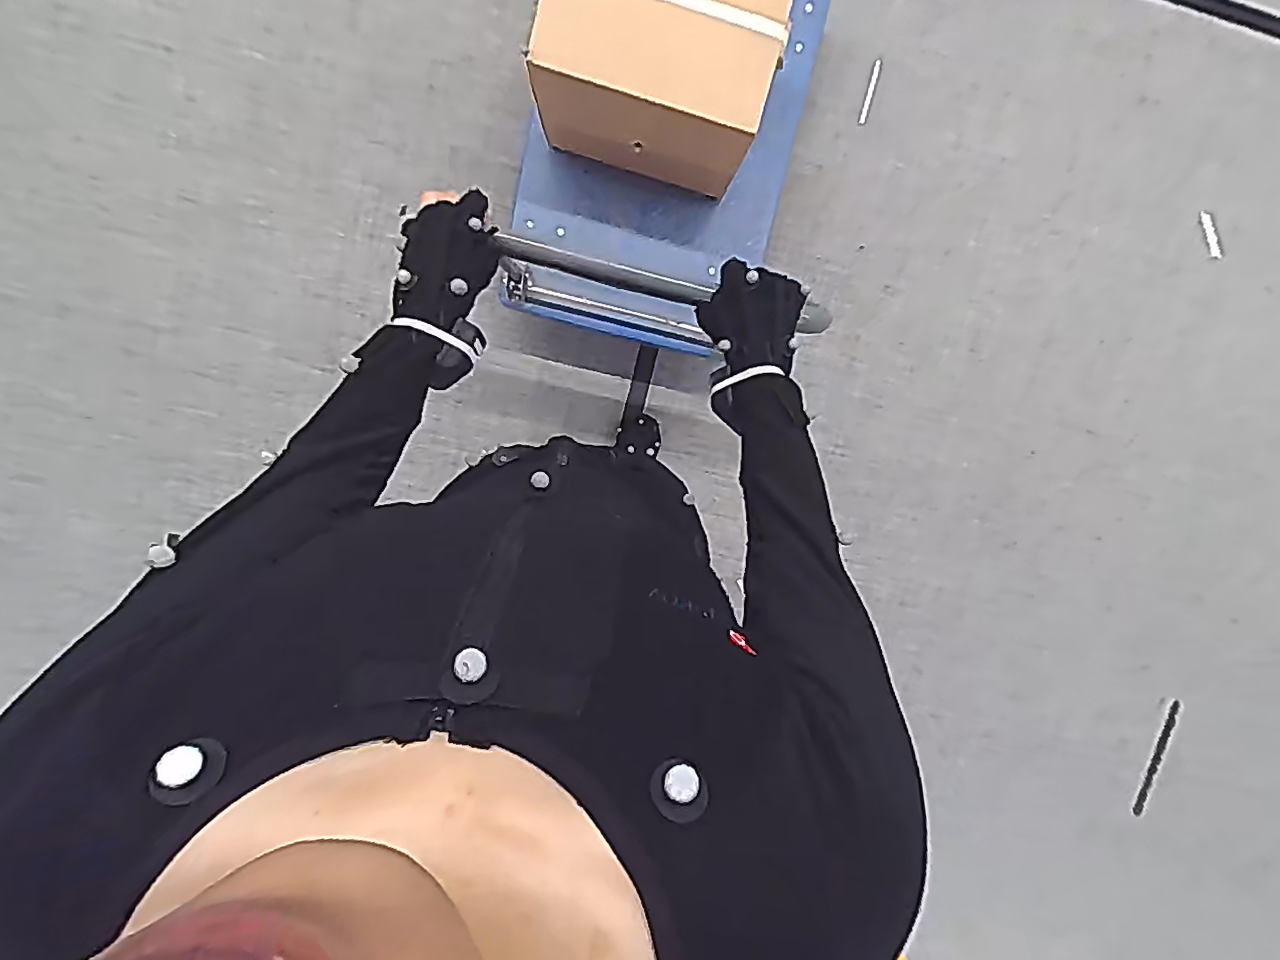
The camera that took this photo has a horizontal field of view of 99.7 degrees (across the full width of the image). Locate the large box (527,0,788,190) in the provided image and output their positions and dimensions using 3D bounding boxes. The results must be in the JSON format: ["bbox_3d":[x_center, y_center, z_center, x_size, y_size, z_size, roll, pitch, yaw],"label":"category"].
[{"bbox_3d":[0.037,-0.815,1.042,0.408,0.320,0.320,15,98,-4],"label":"large box"}]
